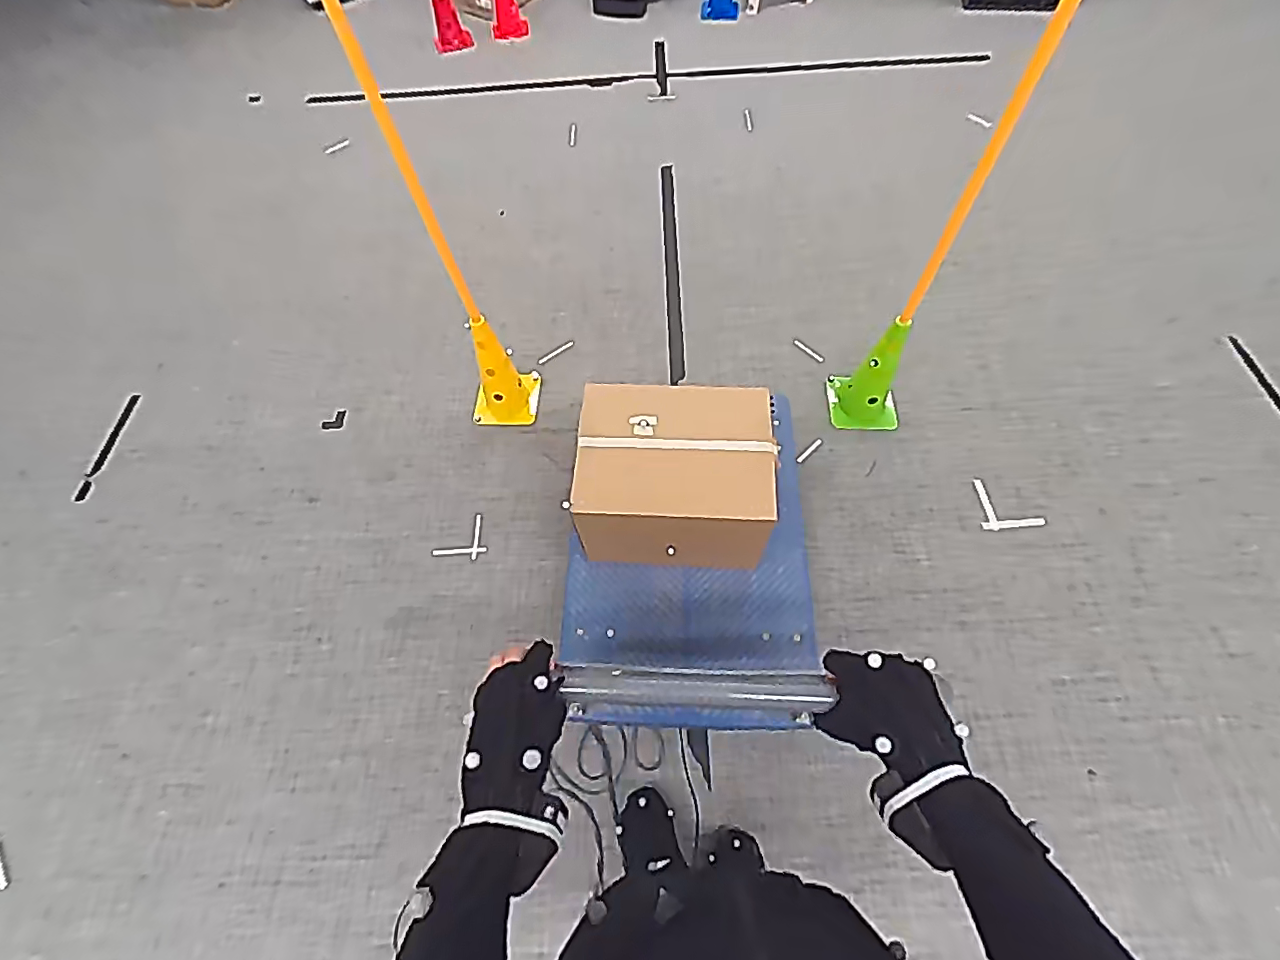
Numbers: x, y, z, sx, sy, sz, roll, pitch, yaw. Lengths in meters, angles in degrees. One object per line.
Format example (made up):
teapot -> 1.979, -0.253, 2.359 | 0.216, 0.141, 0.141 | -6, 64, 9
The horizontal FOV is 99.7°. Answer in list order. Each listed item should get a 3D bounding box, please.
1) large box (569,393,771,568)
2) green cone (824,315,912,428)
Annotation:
large box -> 0.074, 0.011, 1.258 | 0.408, 0.320, 0.320 | 1, 63, 5
green cone -> 0.690, -0.330, 1.570 | 0.202, 0.368, 0.200 | 1, 62, 2
